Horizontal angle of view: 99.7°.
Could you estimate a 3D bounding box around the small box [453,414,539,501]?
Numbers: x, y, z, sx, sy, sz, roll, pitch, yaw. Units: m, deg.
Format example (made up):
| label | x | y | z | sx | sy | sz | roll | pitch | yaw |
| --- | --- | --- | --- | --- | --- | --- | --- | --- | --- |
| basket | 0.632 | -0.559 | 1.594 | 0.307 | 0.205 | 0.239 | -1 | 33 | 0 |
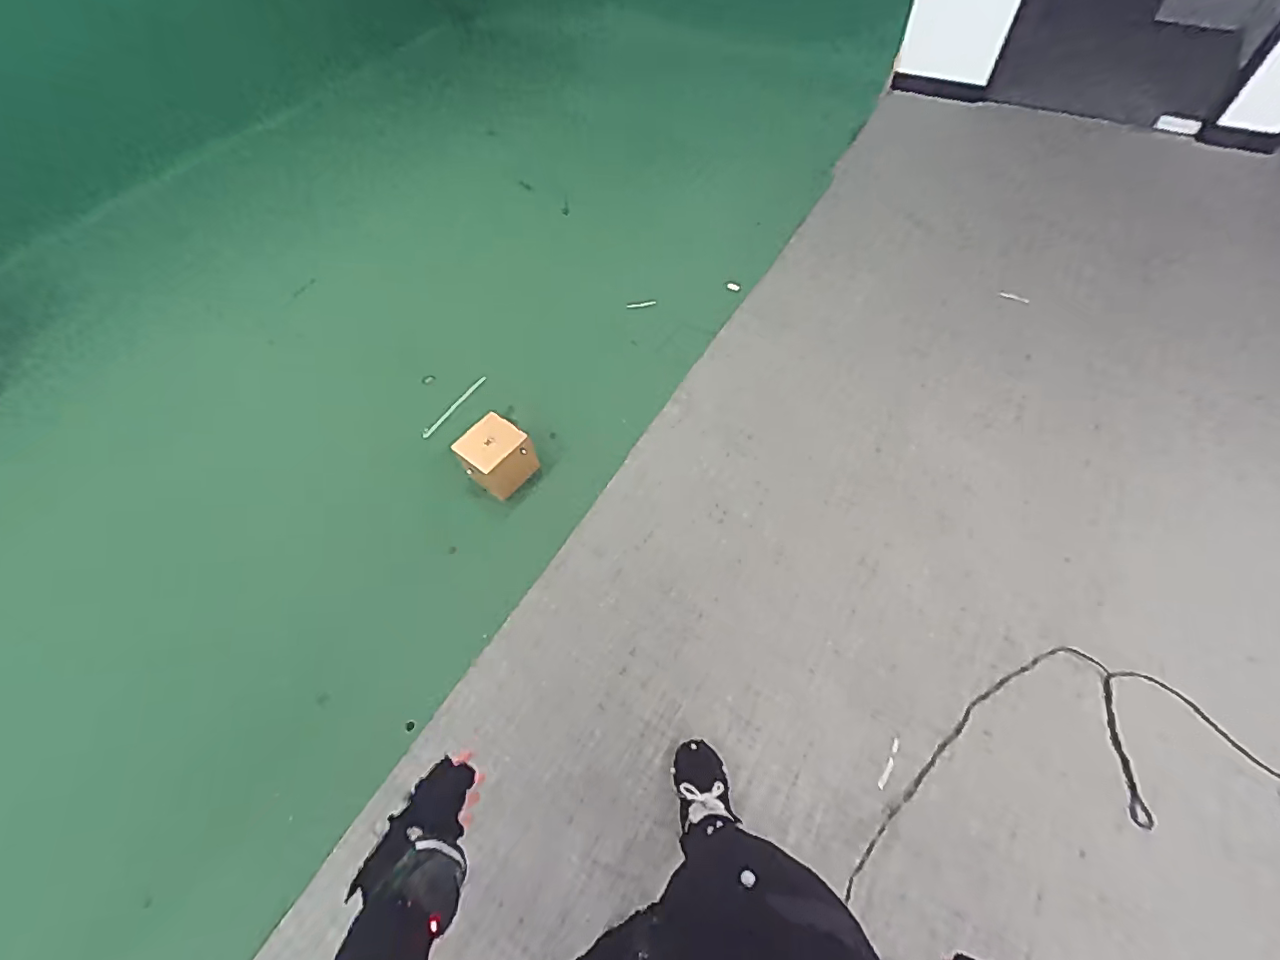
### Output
| label | x | y | z | sx | sy | sz | roll | pitch | yaw |
| --- | --- | --- | --- | --- | --- | --- | --- | --- | --- |
| small box | -0.440 | -0.066 | 1.688 | 0.168 | 0.176 | 0.179 | 33 | 65 | 22 |
